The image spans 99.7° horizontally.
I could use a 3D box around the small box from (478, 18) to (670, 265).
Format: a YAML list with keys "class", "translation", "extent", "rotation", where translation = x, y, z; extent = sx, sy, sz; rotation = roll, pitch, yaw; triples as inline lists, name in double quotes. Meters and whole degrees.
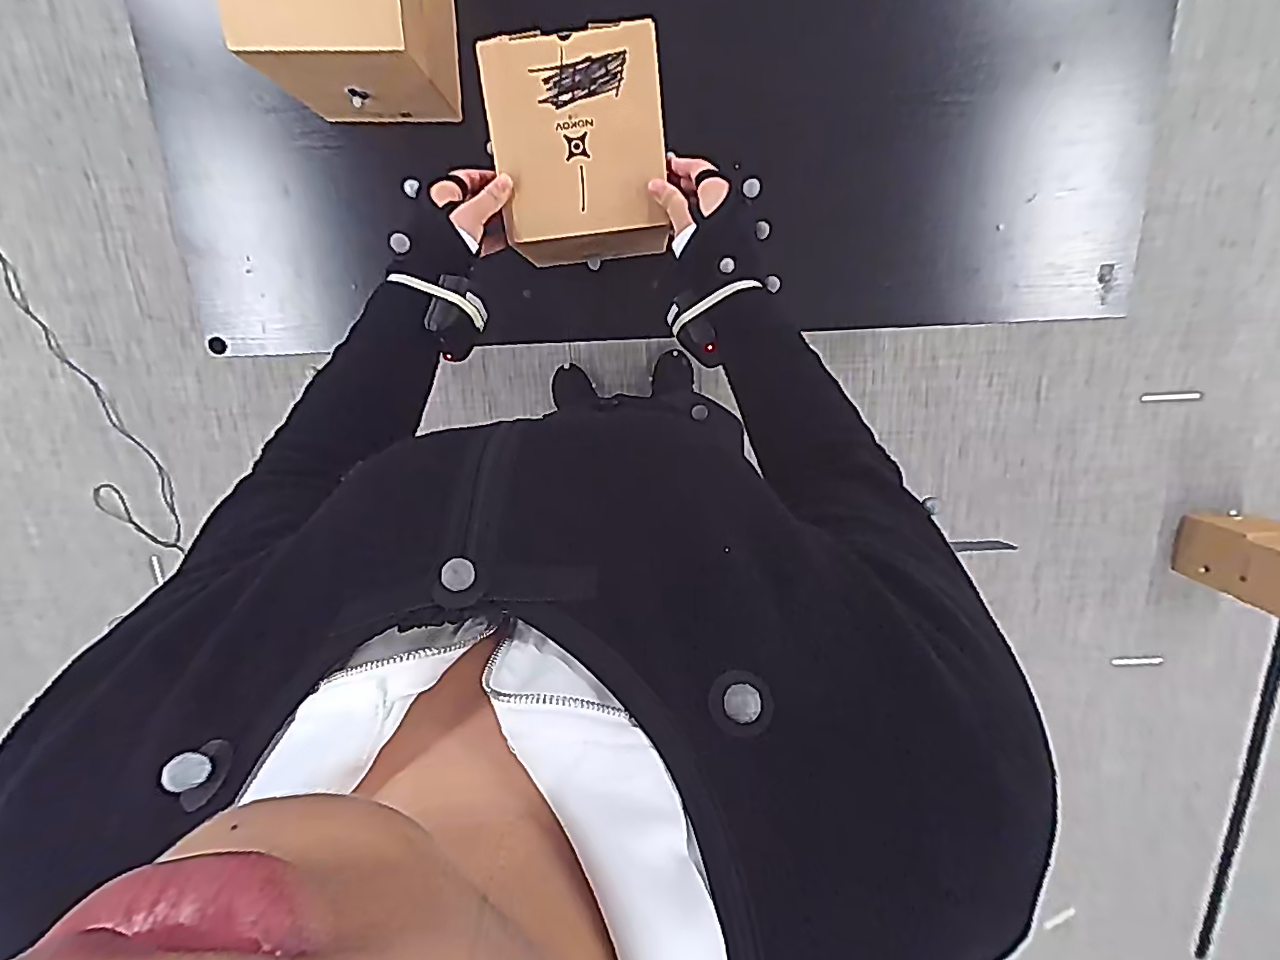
- class: "small box"
  translation: [-0.060, -0.347, 0.590]
  extent: [0.168, 0.176, 0.179]
  rotation: [-6, 104, 2]

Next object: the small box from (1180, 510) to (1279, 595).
- class: "small box"
  translation: [1.618, 0.191, 1.450]
  extent: [0.168, 0.176, 0.179]
  rotation: [-3, 103, 1]

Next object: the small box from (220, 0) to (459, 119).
- class: "small box"
  translation: [-0.297, -0.497, 0.556]
  extent: [0.168, 0.176, 0.179]
  rotation: [0, 104, 0]

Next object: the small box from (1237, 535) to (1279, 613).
- class: "small box"
  translation: [1.615, 0.233, 1.291]
  extent: [0.179, 0.176, 0.168]
  rotation: [-5, 104, 1]
